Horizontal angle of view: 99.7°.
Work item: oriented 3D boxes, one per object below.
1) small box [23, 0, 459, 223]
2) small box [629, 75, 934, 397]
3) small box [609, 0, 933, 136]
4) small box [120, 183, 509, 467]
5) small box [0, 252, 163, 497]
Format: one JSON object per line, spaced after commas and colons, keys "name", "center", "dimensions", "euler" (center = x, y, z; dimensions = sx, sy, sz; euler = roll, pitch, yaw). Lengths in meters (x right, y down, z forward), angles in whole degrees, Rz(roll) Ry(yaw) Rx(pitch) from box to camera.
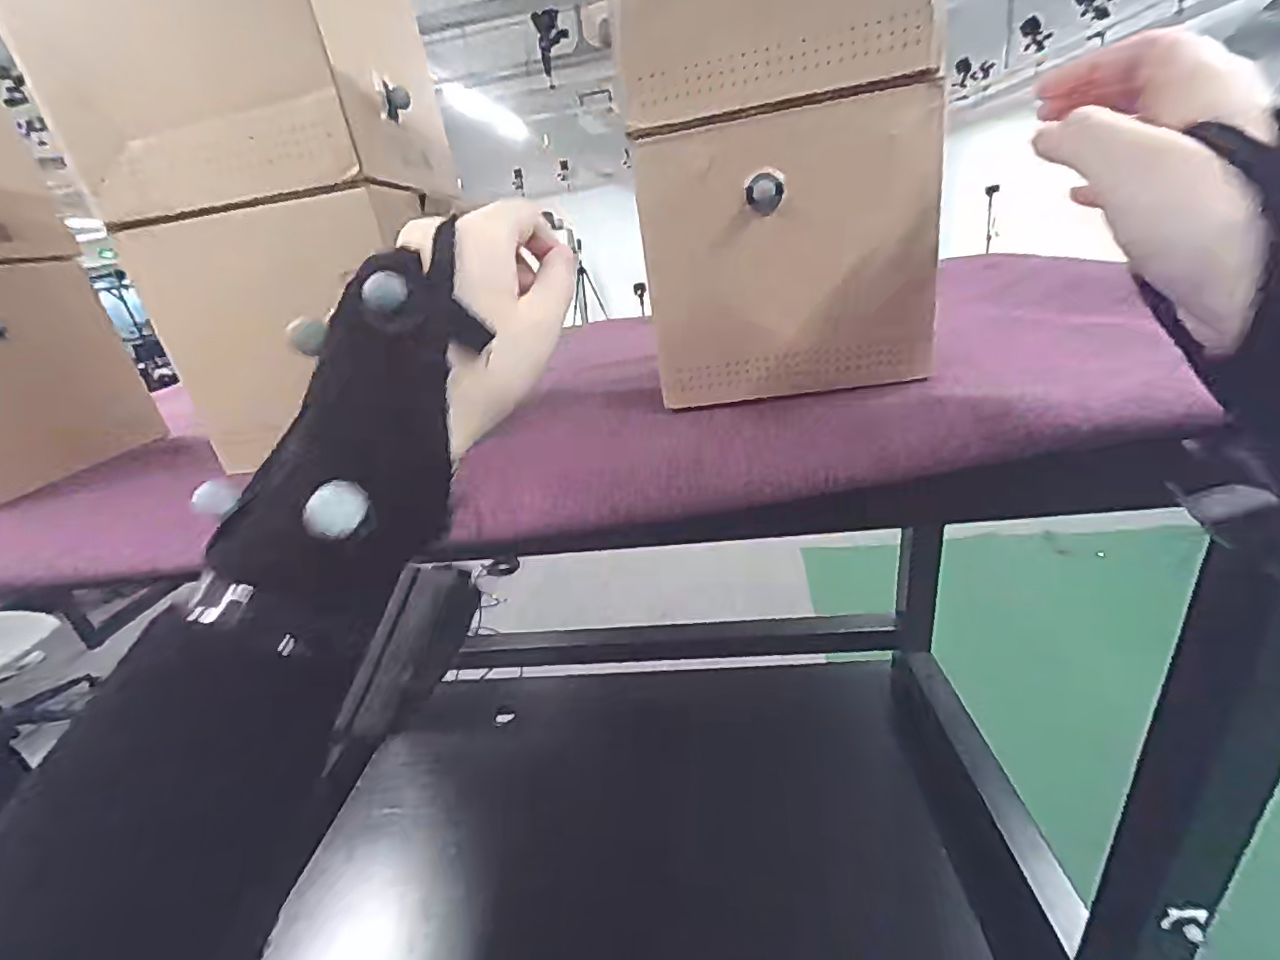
{"name": "small box", "center": [-0.249, -0.270, 0.364], "dimensions": [0.179, 0.176, 0.168], "euler": [-6, 23, 5]}
{"name": "small box", "center": [0.099, -0.165, 0.409], "dimensions": [0.179, 0.176, 0.168], "euler": [-5, 22, 9]}
{"name": "small box", "center": [0.073, -0.316, 0.349], "dimensions": [0.179, 0.176, 0.168], "euler": [-6, 22, 10]}
{"name": "small box", "center": [-0.221, -0.121, 0.427], "dimensions": [0.179, 0.176, 0.168], "euler": [-7, 23, 7]}
{"name": "small box", "center": [-0.560, -0.081, 0.441], "dimensions": [0.168, 0.176, 0.179], "euler": [-5, 25, 5]}
